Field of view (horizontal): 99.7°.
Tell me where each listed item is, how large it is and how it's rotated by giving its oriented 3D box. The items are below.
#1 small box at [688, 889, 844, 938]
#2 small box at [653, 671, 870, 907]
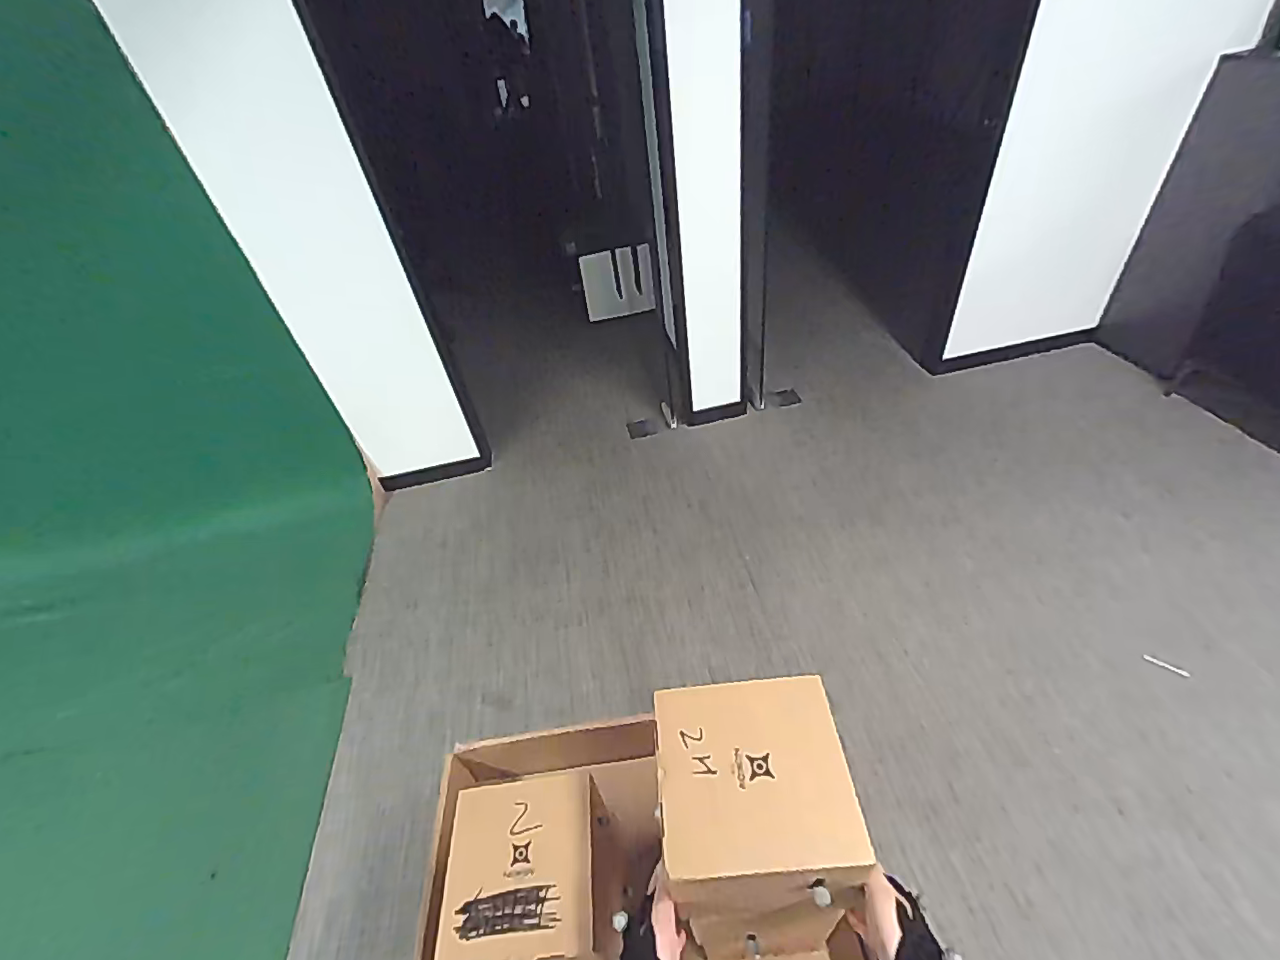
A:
[{"bbox_3d":[0.135,0.436,0.670,0.168,0.176,0.179,-9,43,3],"label":"small box"},{"bbox_3d":[0.112,0.319,0.557,0.179,0.176,0.168,-8,42,5],"label":"small box"}]
